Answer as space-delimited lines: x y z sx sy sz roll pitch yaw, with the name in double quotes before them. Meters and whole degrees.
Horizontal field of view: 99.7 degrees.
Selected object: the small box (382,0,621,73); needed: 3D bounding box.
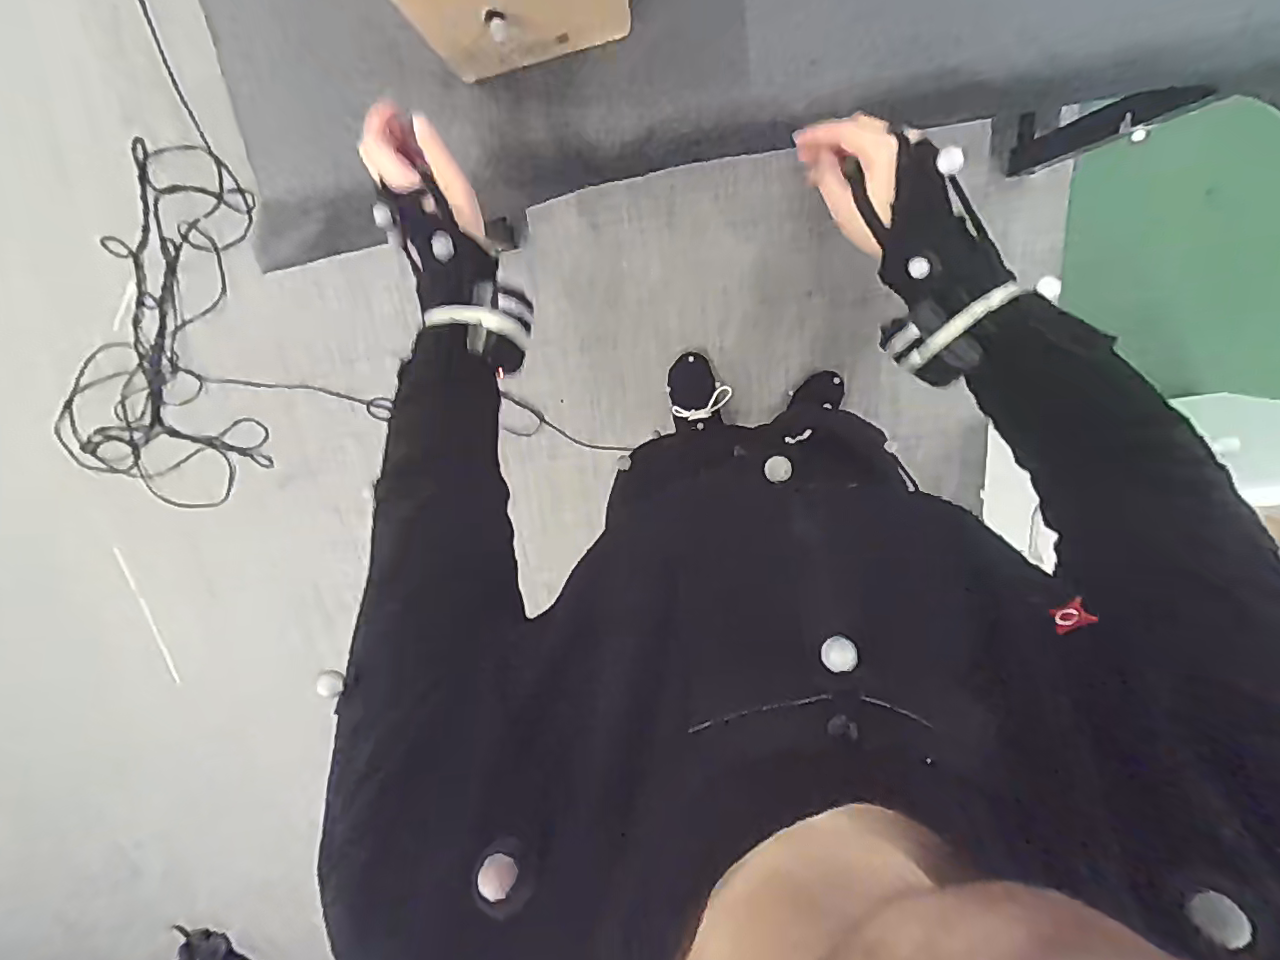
"small box" -0.115 -0.450 0.412 0.168 0.176 0.179 -11 106 6
